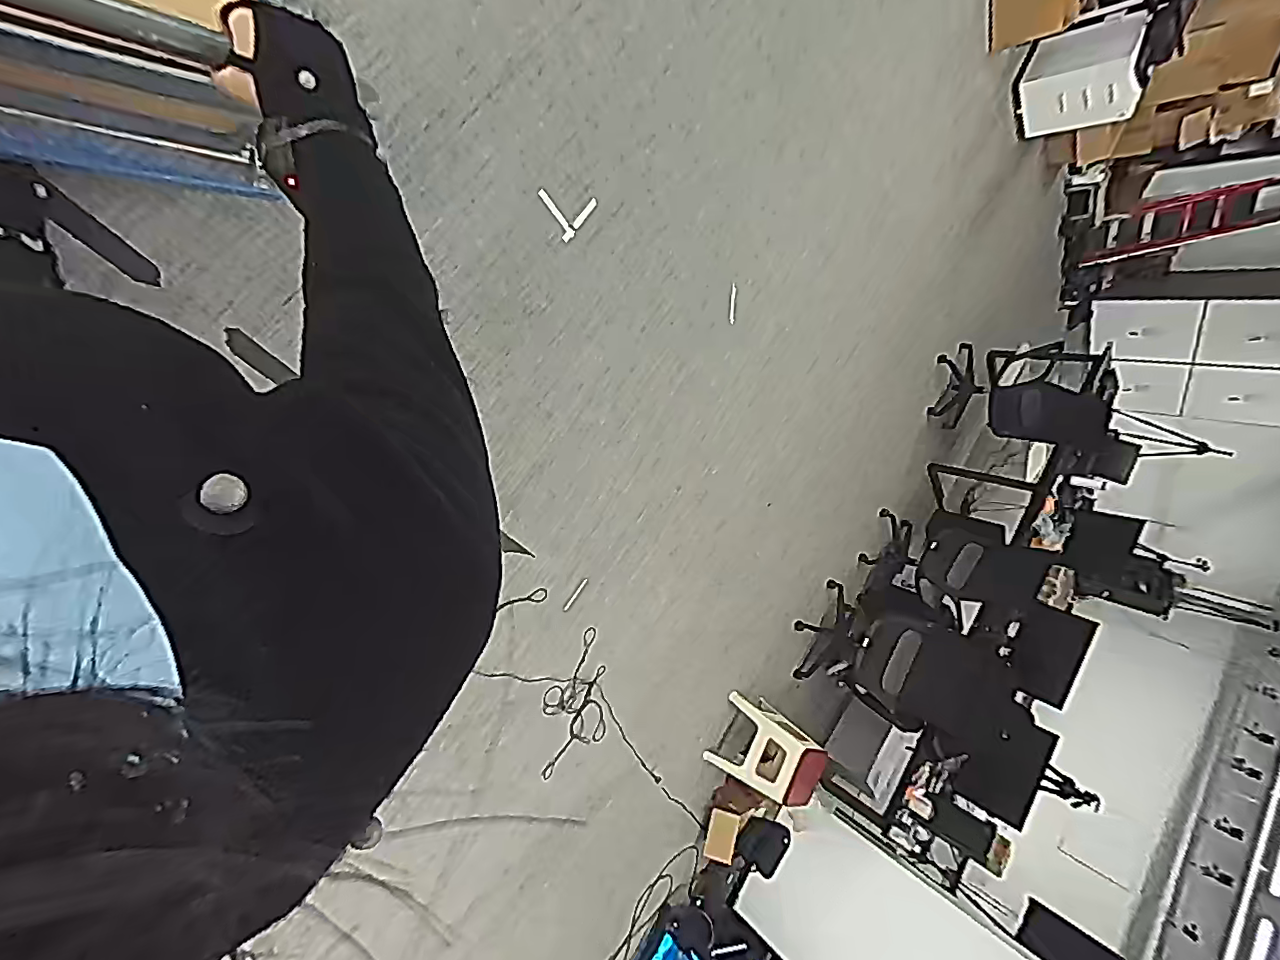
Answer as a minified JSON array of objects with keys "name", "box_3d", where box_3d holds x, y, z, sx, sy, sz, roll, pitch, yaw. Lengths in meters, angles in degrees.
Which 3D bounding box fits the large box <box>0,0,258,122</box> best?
[{"name":"large box","box_3d":[-0.780,-0.720,0.694,0.408,0.320,0.320,-11,112,-43]}]
